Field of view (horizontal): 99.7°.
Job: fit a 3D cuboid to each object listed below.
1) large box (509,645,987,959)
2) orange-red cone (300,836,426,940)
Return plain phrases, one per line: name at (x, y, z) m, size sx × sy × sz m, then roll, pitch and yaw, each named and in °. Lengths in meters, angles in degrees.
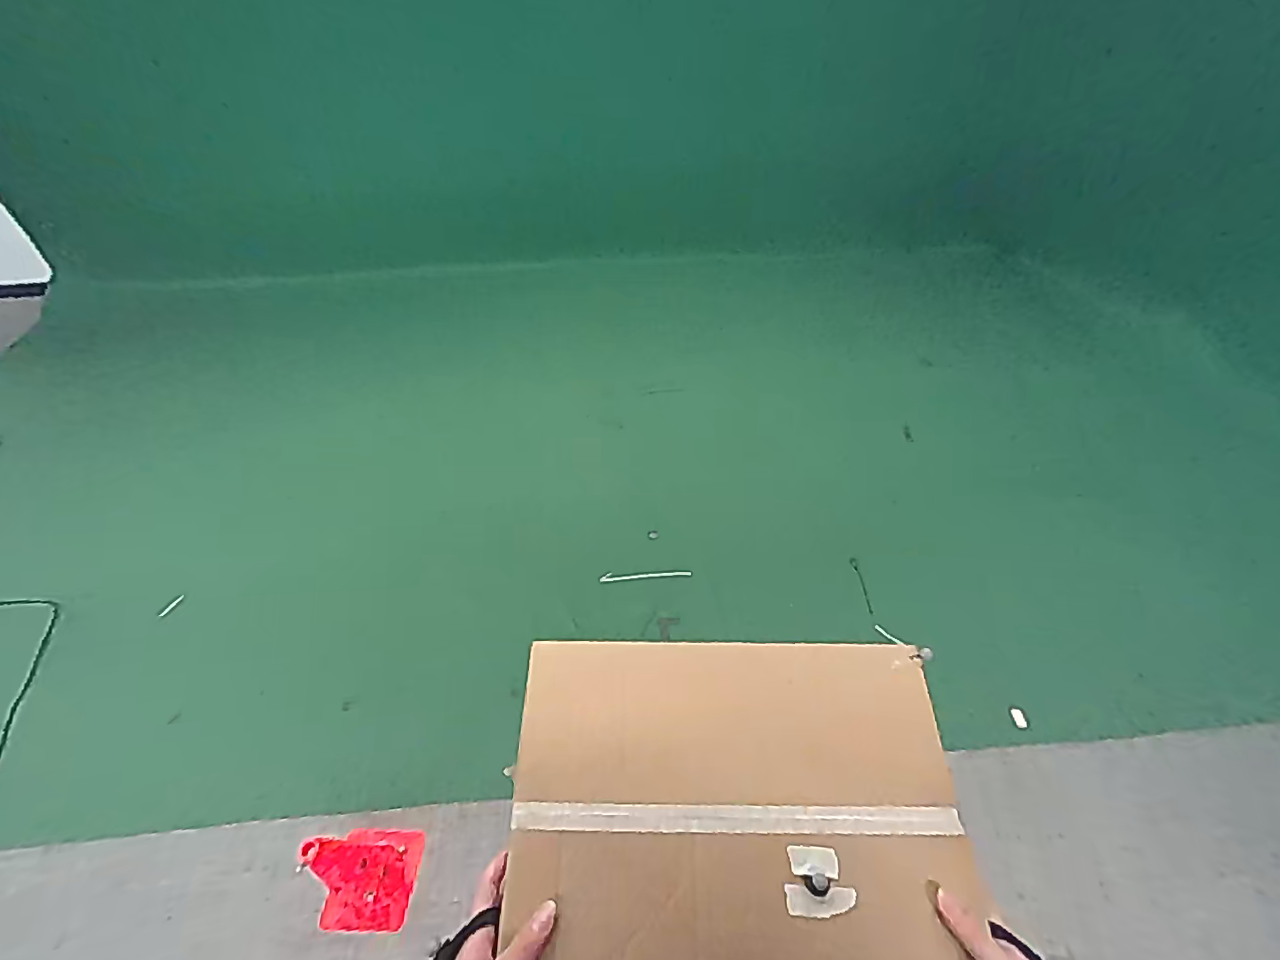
large box at (0.088, 0.389, 0.627) m, size 0.408 × 0.320 × 0.320 m, roll 0°, pitch 59°, yaw 1°
orange-red cone at (-0.640, 0.855, 1.176) m, size 0.199 × 0.360 × 0.198 m, roll 0°, pitch 45°, yaw 3°
